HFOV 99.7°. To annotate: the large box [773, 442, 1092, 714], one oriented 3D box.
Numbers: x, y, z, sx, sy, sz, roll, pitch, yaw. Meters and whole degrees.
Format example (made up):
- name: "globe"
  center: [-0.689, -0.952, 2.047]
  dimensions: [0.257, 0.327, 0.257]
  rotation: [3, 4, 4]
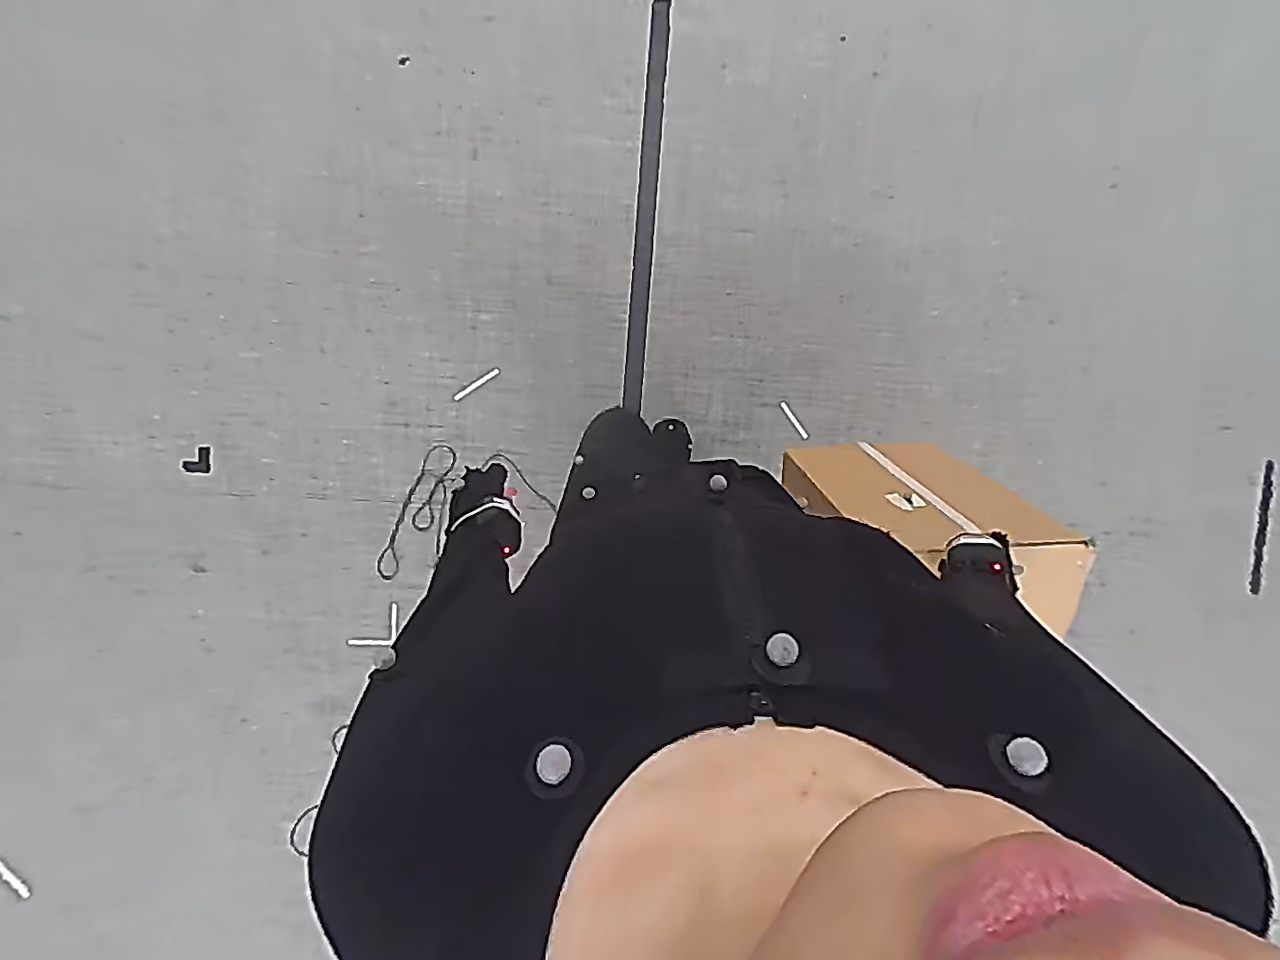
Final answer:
- name: "large box"
  center: [0.464, 0.148, 0.982]
  dimensions: [0.320, 0.408, 0.320]
  rotation: [-3, 115, -4]
